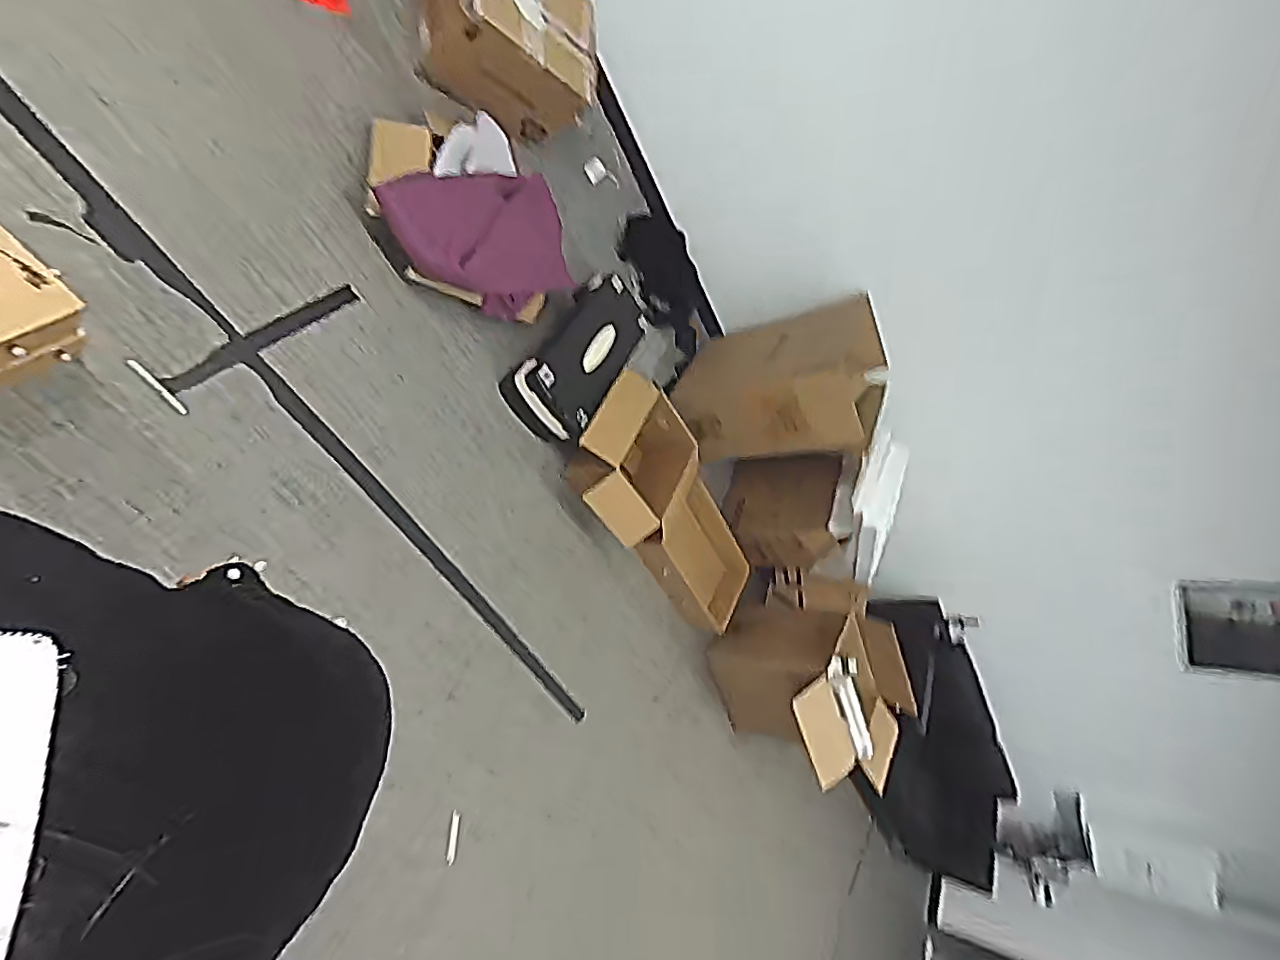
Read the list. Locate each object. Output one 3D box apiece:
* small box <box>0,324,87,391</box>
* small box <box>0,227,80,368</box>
[{"bbox_3d":[-1.152,-0.267,0.956,0.179,0.176,0.168,-53,123,-38],"label":"small box"},{"bbox_3d":[-1.037,-0.278,0.840,0.168,0.176,0.179,58,48,-27],"label":"small box"}]
